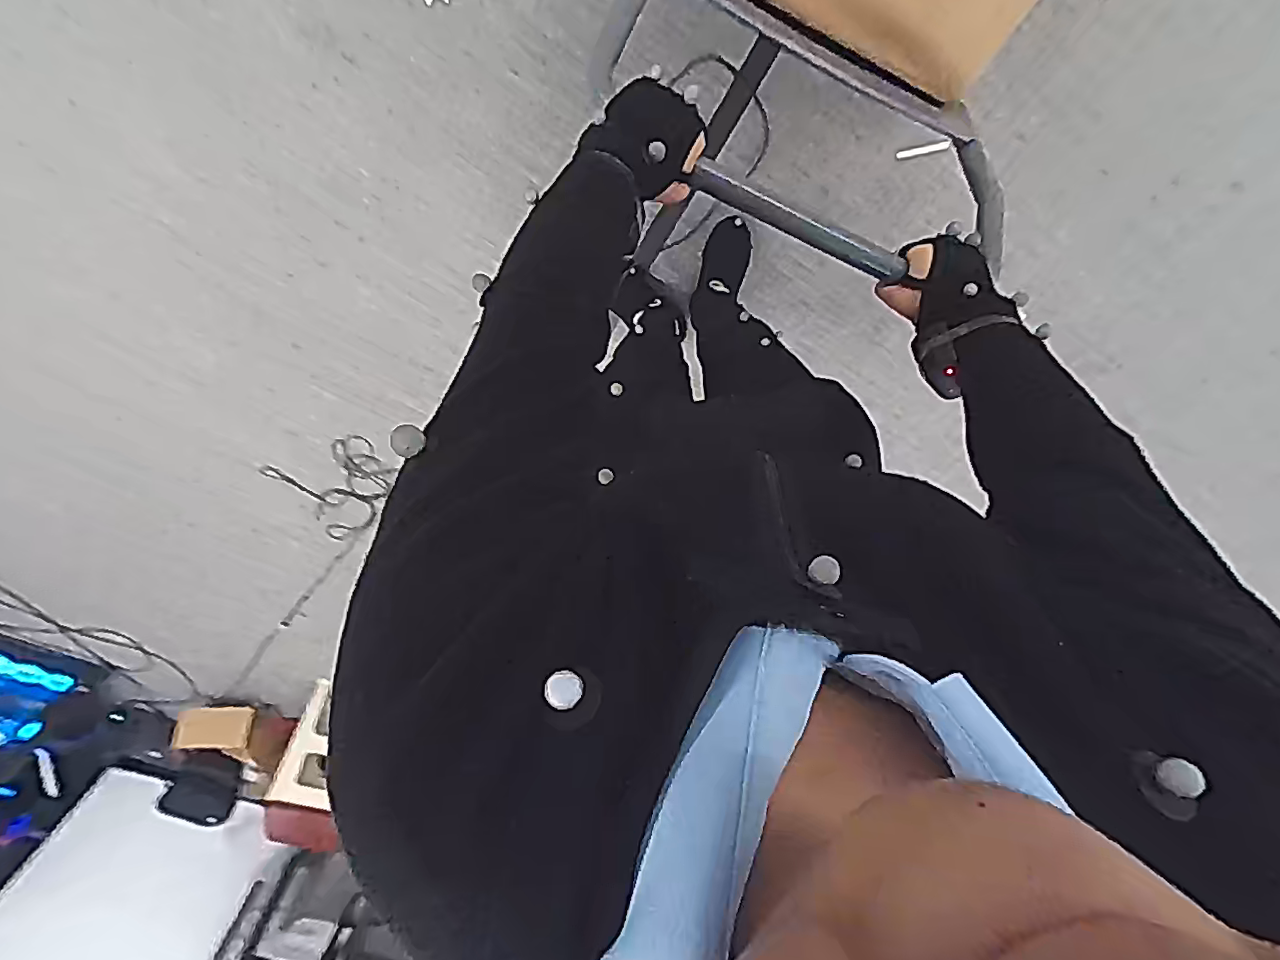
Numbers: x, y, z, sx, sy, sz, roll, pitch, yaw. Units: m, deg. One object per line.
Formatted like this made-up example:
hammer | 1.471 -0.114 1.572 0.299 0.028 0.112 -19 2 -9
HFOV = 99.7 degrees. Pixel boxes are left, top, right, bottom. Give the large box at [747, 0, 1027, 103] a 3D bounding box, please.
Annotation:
large box | 0.337 -0.801 0.725 0.408 0.320 0.320 19 140 -11
